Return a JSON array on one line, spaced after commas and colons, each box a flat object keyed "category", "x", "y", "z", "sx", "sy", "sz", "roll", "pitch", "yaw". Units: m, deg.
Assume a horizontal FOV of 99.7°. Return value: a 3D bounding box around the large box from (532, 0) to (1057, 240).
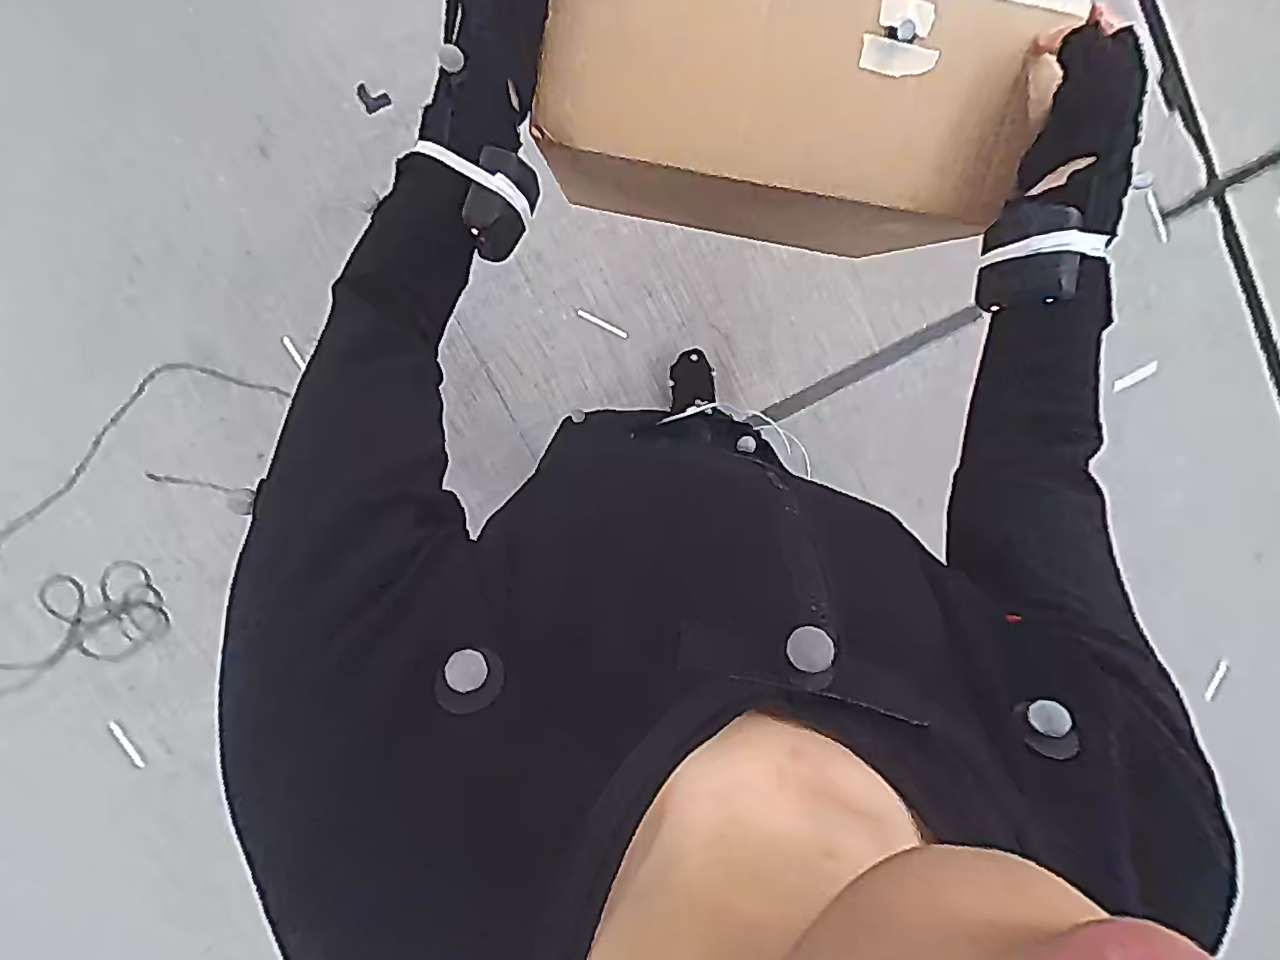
[{"category": "large box", "x": 0.120, "y": -0.447, "z": 0.541, "sx": 0.408, "sy": 0.320, "sz": 0.320, "roll": 7, "pitch": 109, "yaw": -5}]
